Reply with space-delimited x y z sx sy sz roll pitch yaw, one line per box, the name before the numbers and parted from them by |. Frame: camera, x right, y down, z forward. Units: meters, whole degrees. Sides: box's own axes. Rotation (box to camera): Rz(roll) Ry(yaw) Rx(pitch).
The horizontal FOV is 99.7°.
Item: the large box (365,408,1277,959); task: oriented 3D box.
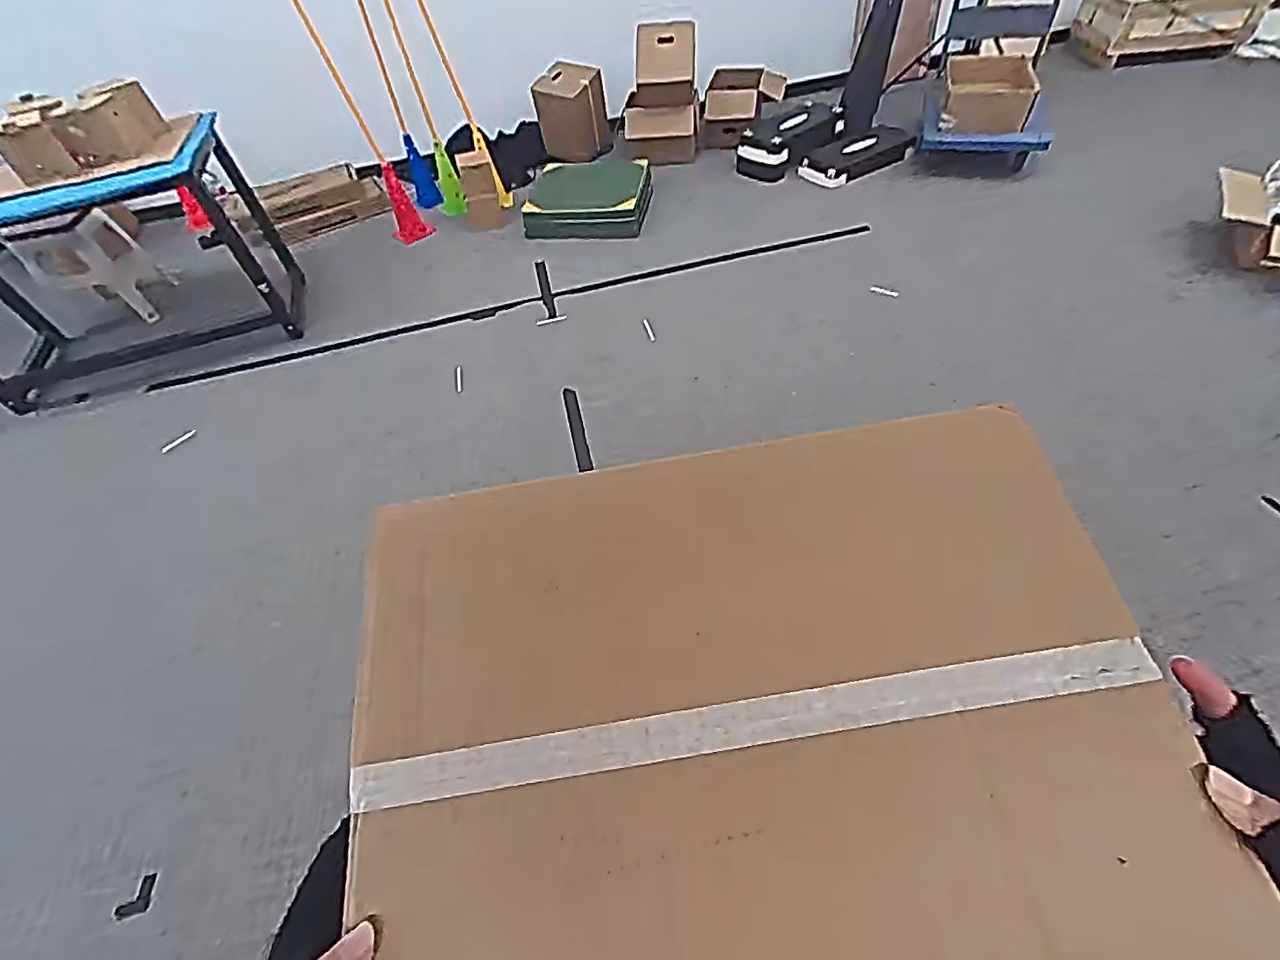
large box | 0.065 0.187 0.420 0.408 0.320 0.320 -10 65 1
